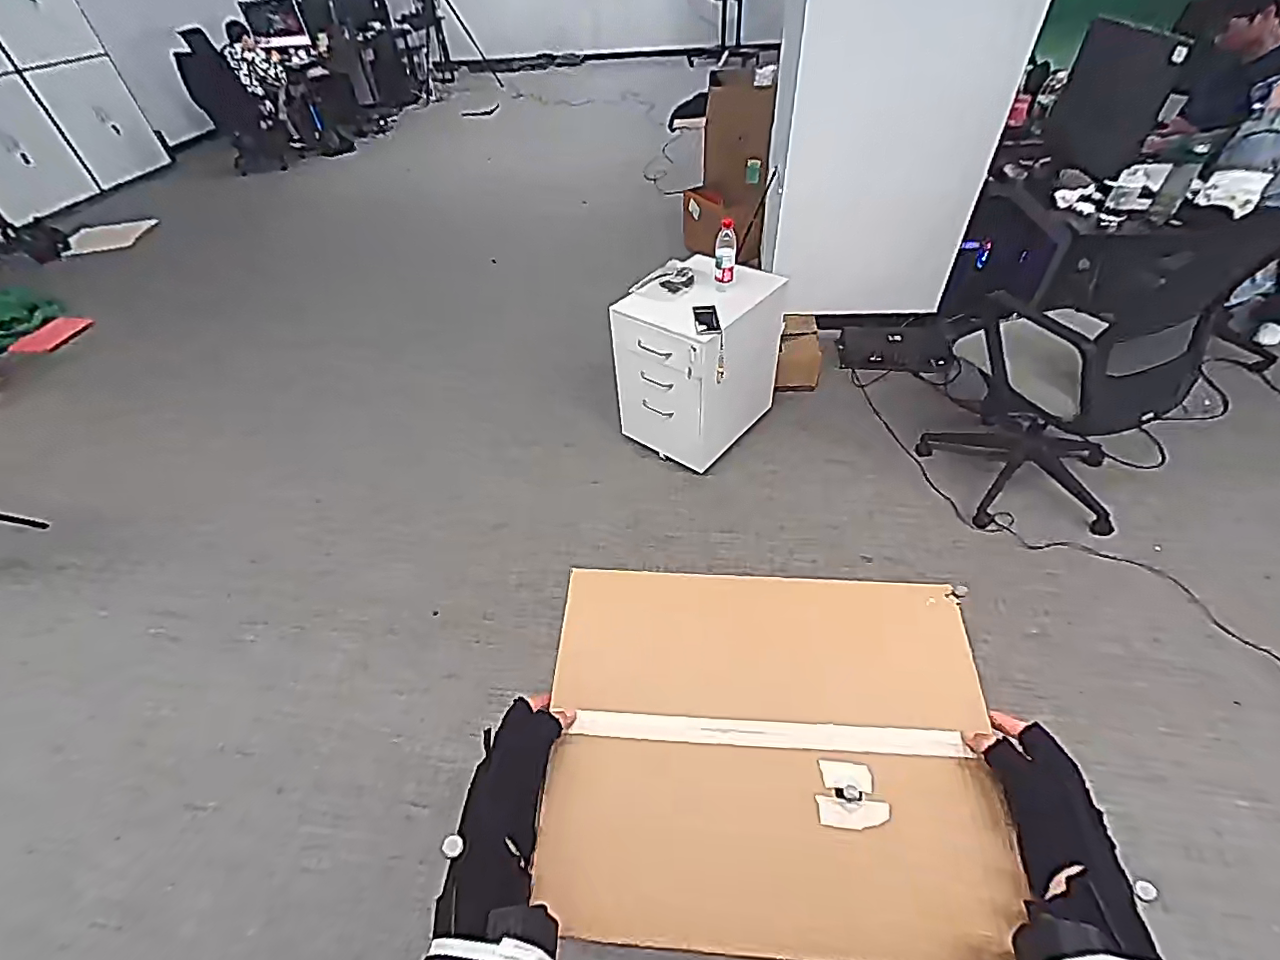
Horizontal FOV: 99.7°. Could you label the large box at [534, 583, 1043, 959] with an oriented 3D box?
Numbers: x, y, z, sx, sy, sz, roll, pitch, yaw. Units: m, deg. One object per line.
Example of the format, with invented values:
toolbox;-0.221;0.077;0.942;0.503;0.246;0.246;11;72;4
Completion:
large box;0.123;0.330;0.627;0.408;0.320;0.320;2;56;4
